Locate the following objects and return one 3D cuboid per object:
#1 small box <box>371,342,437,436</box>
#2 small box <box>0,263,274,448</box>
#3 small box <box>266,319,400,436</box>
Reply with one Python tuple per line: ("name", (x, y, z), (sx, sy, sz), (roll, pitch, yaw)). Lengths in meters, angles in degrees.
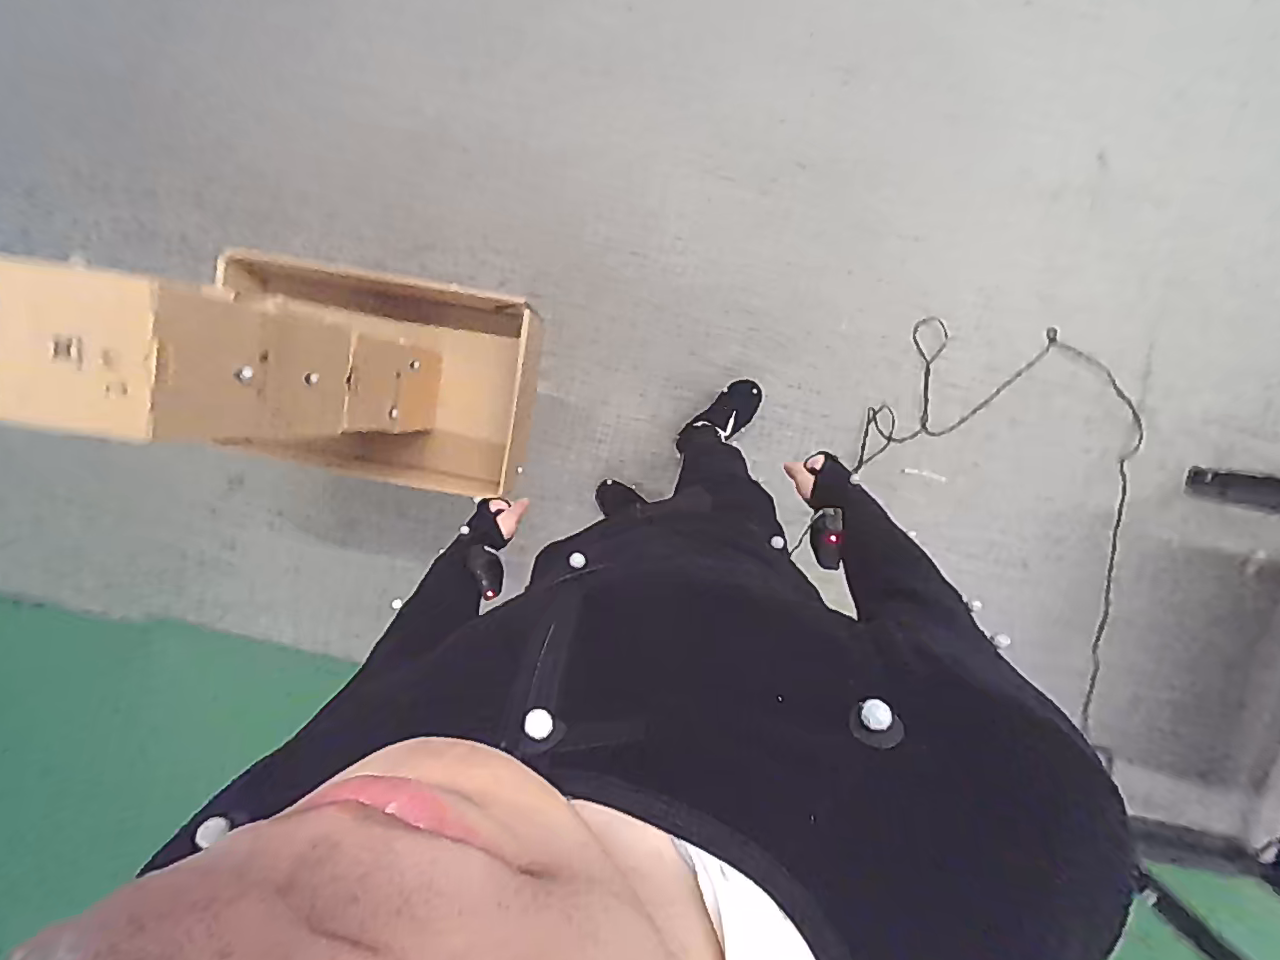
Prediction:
("small box", (-0.534, -0.190, 1.109), (0.168, 0.176, 0.179), (9, 96, 2))
("small box", (-0.568, -0.132, 0.620), (0.179, 0.176, 0.168), (9, 97, 2))
("small box", (-0.547, -0.175, 0.946), (0.179, 0.176, 0.168), (10, 96, 3))
